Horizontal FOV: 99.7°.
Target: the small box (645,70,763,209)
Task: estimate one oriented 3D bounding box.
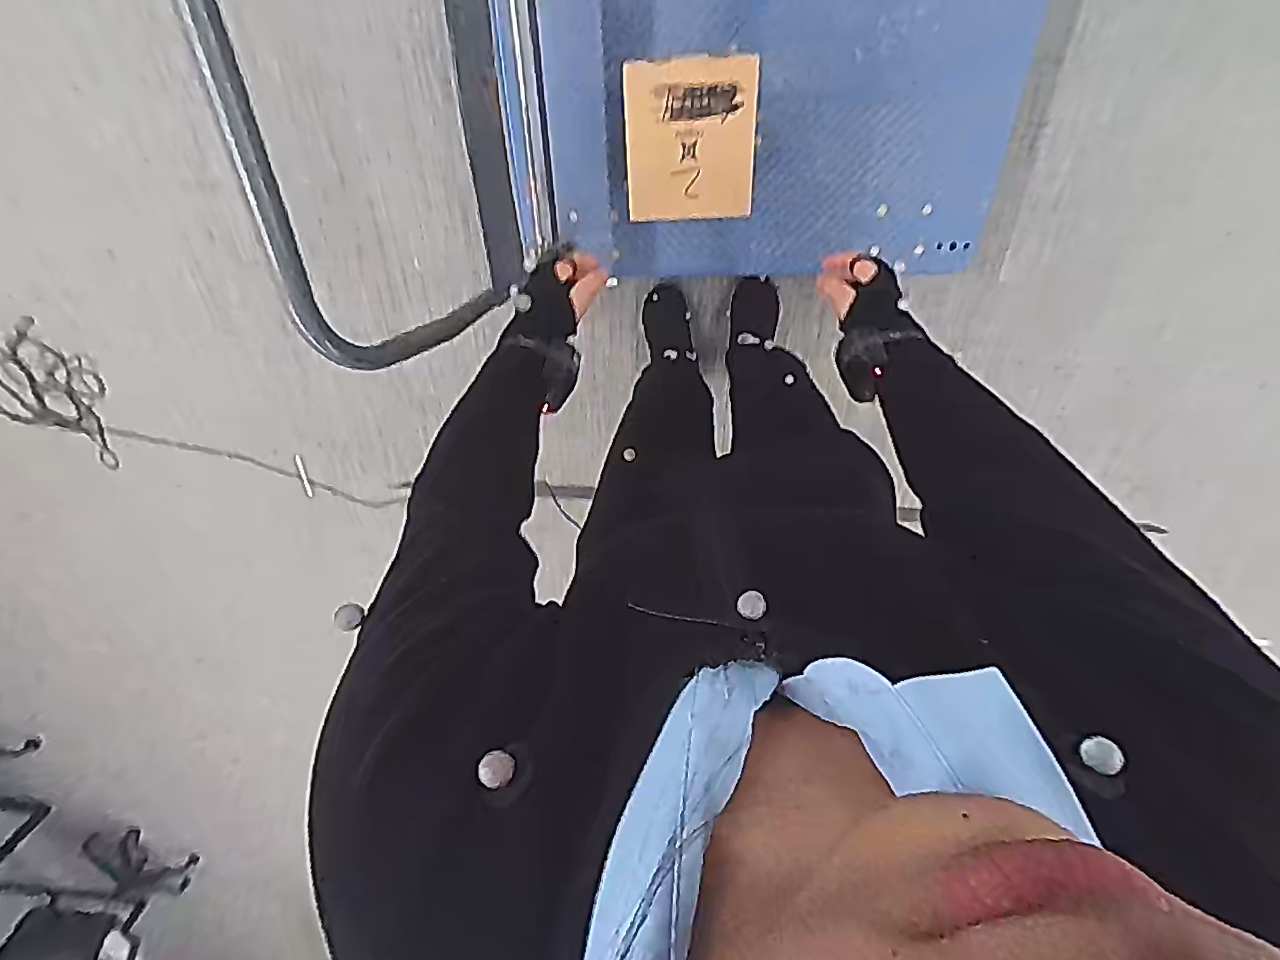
[{"bbox_3d":[0.100,-0.557,0.897,0.168,0.176,0.179,5,122,4],"label":"small box"}]

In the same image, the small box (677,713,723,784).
[{"bbox_3d":[0.226,1.015,2.049,0.168,0.176,0.179,1,120,5],"label":"small box"}]
